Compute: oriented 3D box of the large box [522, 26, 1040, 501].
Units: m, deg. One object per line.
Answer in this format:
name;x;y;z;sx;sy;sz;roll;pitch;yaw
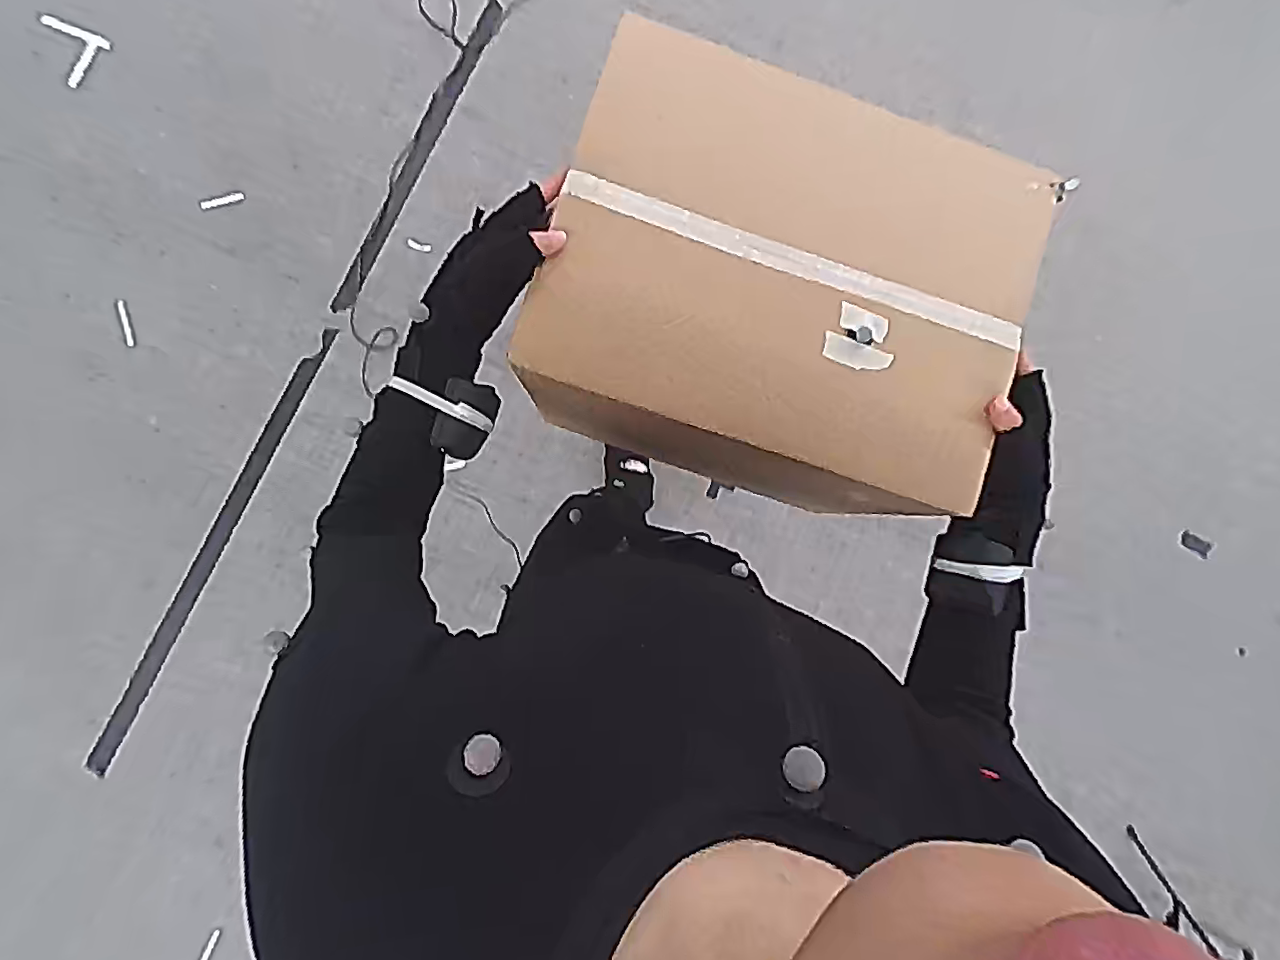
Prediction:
large box;0.118;-0.181;0.614;0.408;0.320;0.320;19;87;-4
